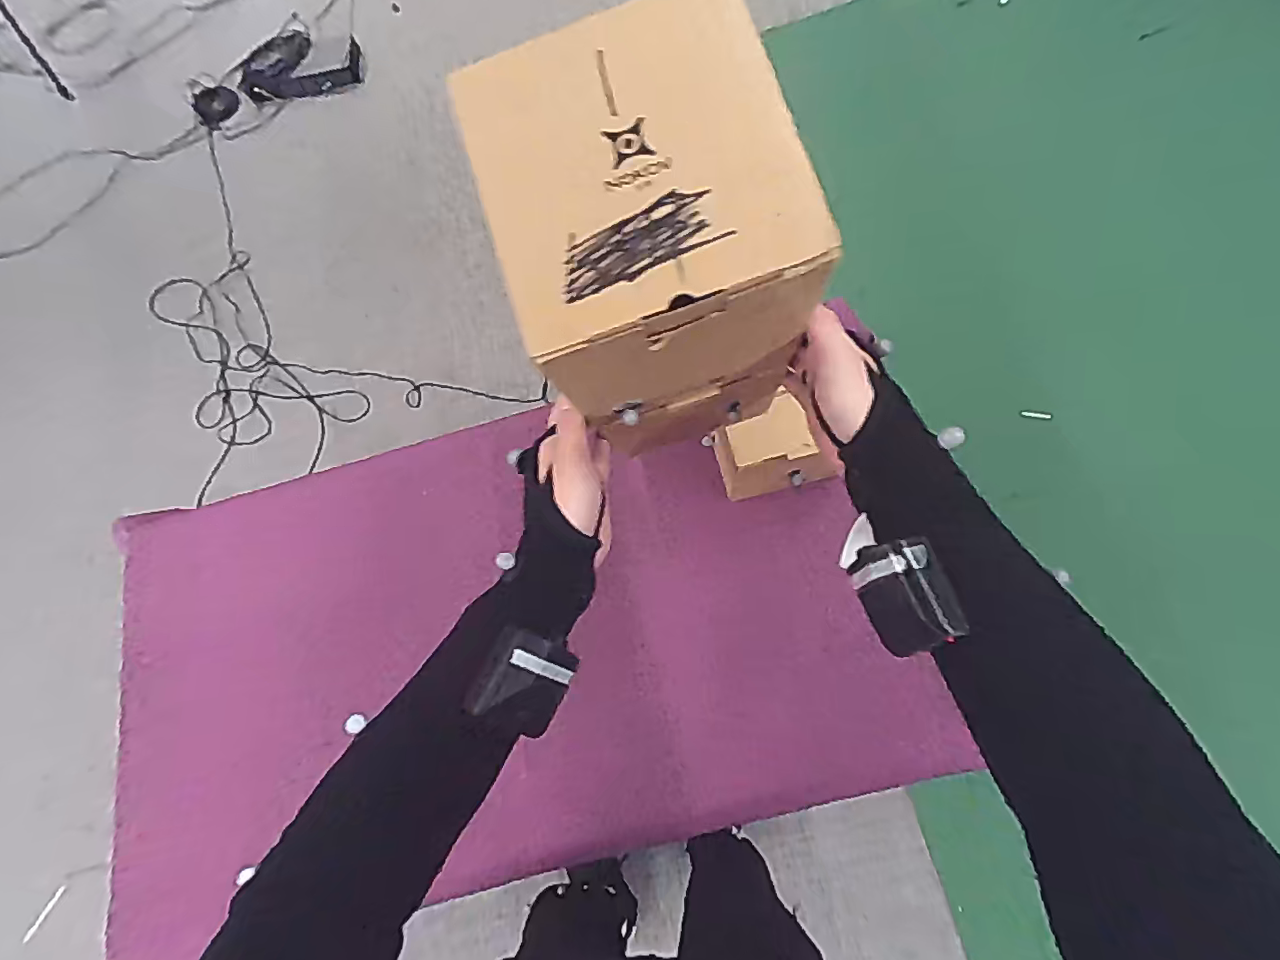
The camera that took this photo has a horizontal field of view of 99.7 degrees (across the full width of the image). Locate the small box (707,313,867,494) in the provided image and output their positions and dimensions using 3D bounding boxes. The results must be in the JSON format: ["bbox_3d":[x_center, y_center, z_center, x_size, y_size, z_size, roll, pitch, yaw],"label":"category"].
[{"bbox_3d":[0.178,-0.089,0.732,0.168,0.176,0.179,-14,74,2],"label":"small box"}]

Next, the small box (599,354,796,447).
[{"bbox_3d":[0.037,-0.138,0.527,0.168,0.176,0.179,-17,81,5],"label":"small box"}]

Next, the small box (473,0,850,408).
[{"bbox_3d":[0.016,-0.159,0.365,0.168,0.176,0.179,-18,81,4],"label":"small box"}]
